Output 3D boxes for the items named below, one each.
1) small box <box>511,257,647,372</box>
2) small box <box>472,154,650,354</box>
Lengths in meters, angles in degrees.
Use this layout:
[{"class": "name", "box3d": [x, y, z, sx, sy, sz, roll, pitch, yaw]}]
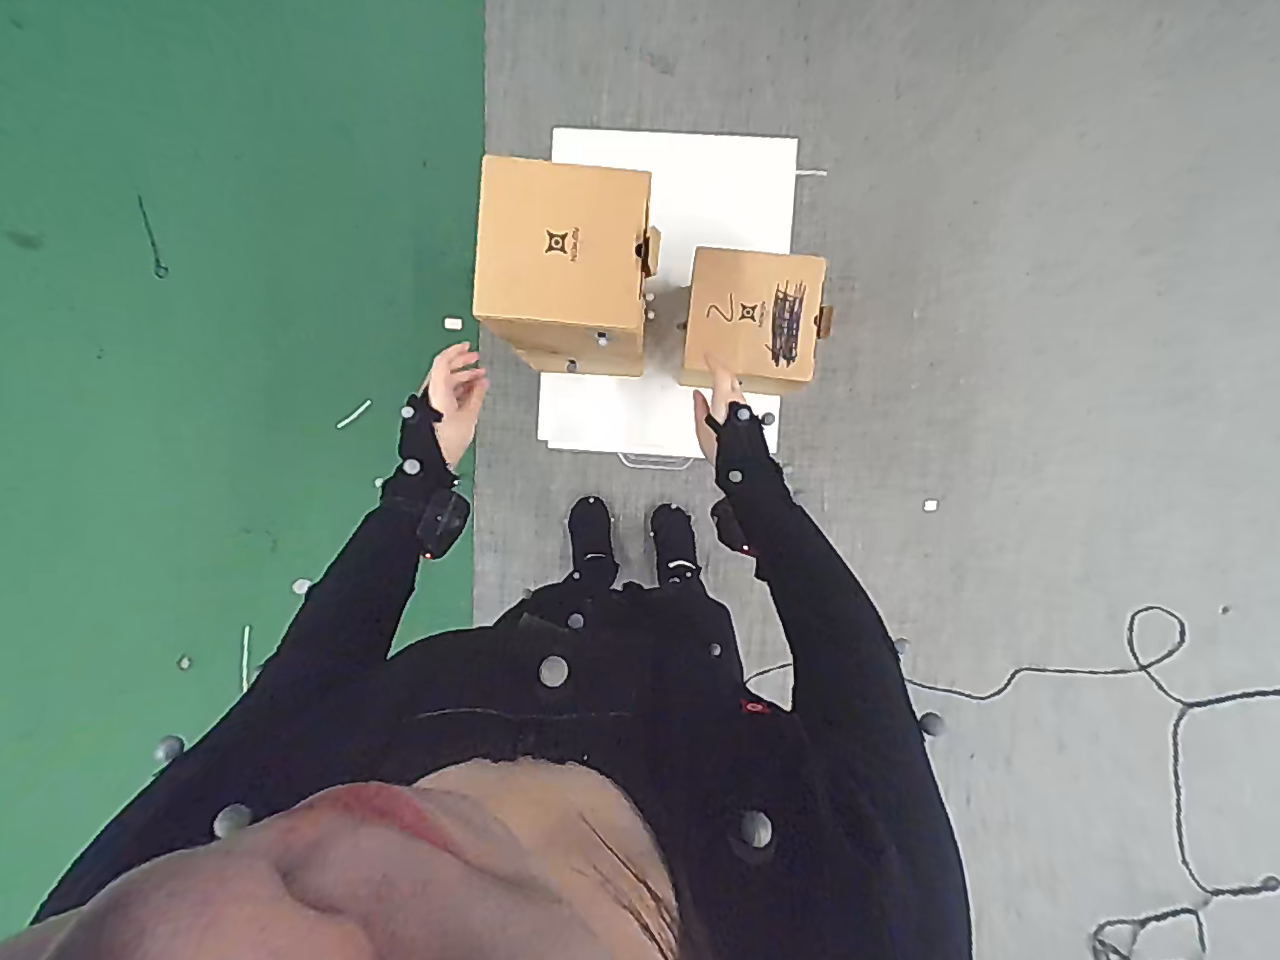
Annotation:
[{"class": "small box", "box3d": [-0.082, -0.257, 0.802, 0.179, 0.176, 0.168, 3, 93, 0]}, {"class": "small box", "box3d": [-0.083, -0.251, 0.639, 0.179, 0.176, 0.168, 4, 92, -2]}]
